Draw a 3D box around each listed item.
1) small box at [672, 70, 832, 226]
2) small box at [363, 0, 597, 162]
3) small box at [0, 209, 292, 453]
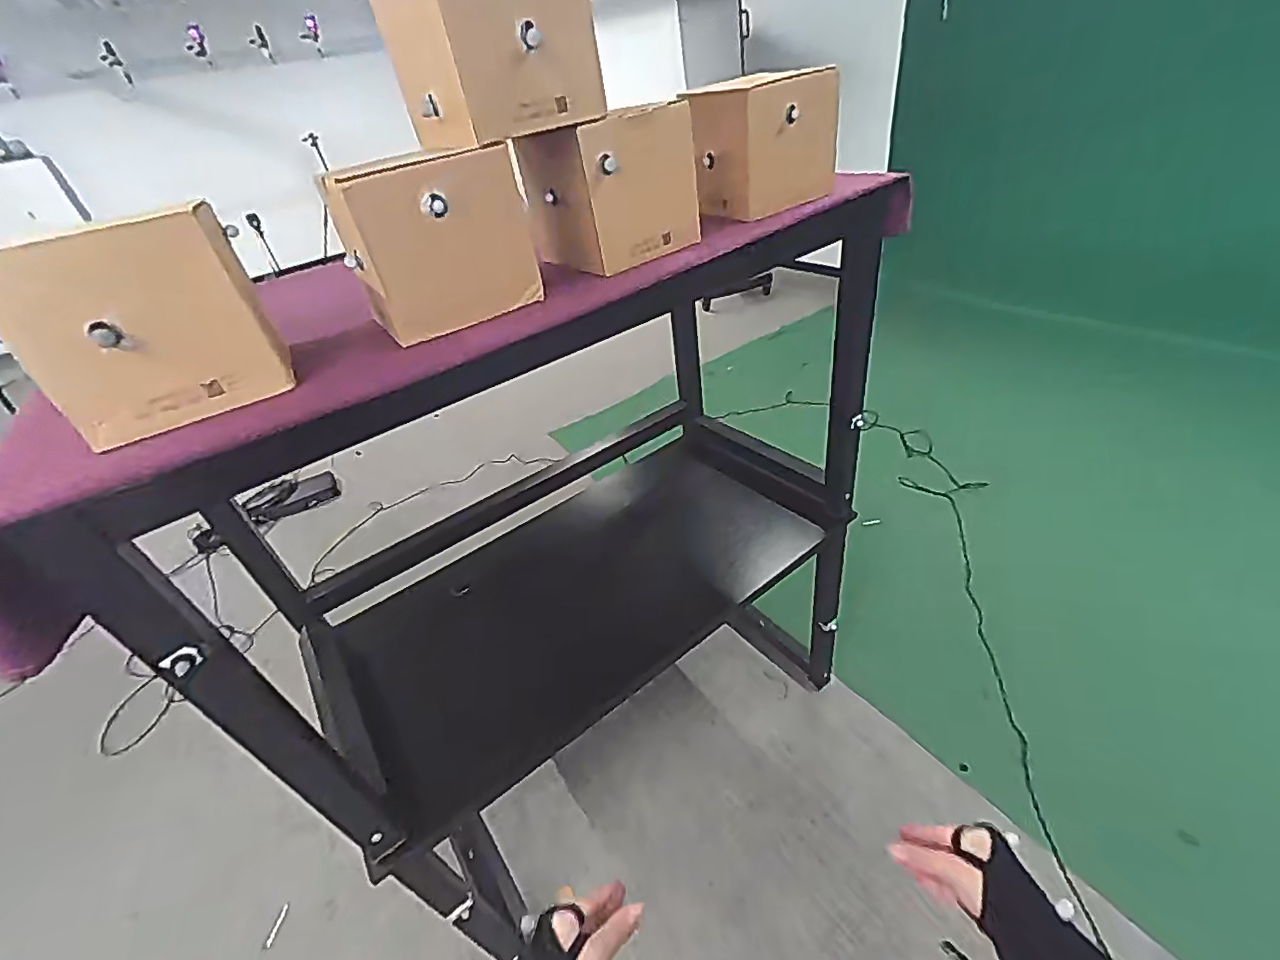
[{"bbox_3d":[0.175,-0.508,0.838,0.179,0.176,0.168,-27,40,-20],"label":"small box"},{"bbox_3d":[-0.167,-0.458,0.586,0.168,0.176,0.179,-32,41,-25],"label":"small box"},{"bbox_3d":[-0.465,-0.146,0.521,0.168,0.176,0.179,-27,37,-21],"label":"small box"}]
